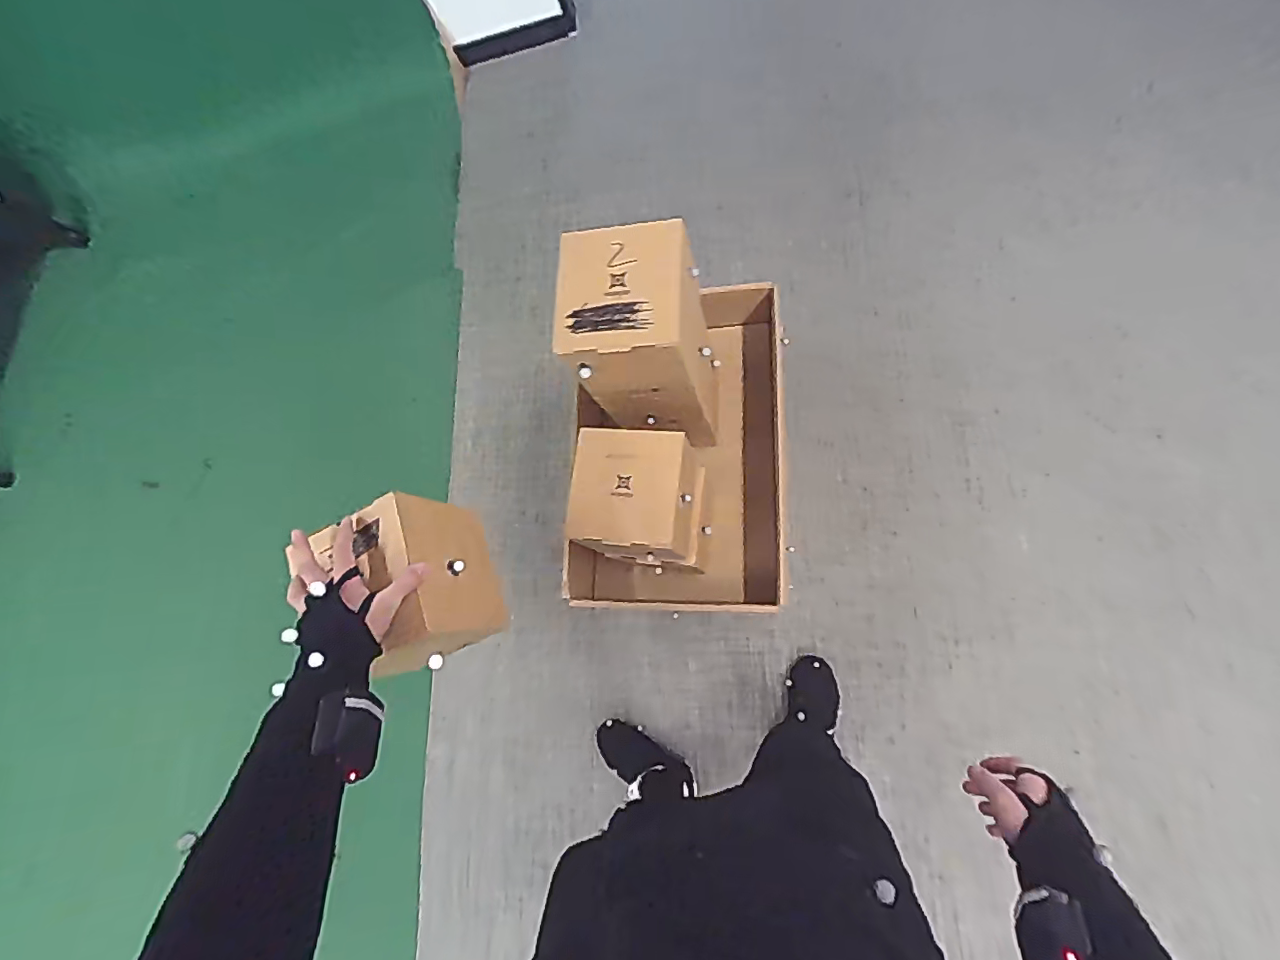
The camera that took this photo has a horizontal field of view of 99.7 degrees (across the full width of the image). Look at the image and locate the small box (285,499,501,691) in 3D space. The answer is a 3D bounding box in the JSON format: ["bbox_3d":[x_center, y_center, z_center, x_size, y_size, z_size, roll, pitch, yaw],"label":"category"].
[{"bbox_3d":[-0.309,0.148,0.696,0.168,0.176,0.179,-26,72,11],"label":"small box"}]

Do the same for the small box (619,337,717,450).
[{"bbox_3d":[0.062,-0.166,1.085,0.168,0.176,0.179,-1,78,14],"label":"small box"}]

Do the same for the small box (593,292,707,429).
[{"bbox_3d":[0.024,-0.197,0.931,0.168,0.176,0.179,-2,79,13],"label":"small box"}]

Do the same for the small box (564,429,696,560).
[{"bbox_3d":[-0.007,0.031,0.880,0.168,0.176,0.179,5,77,14],"label":"small box"}]
